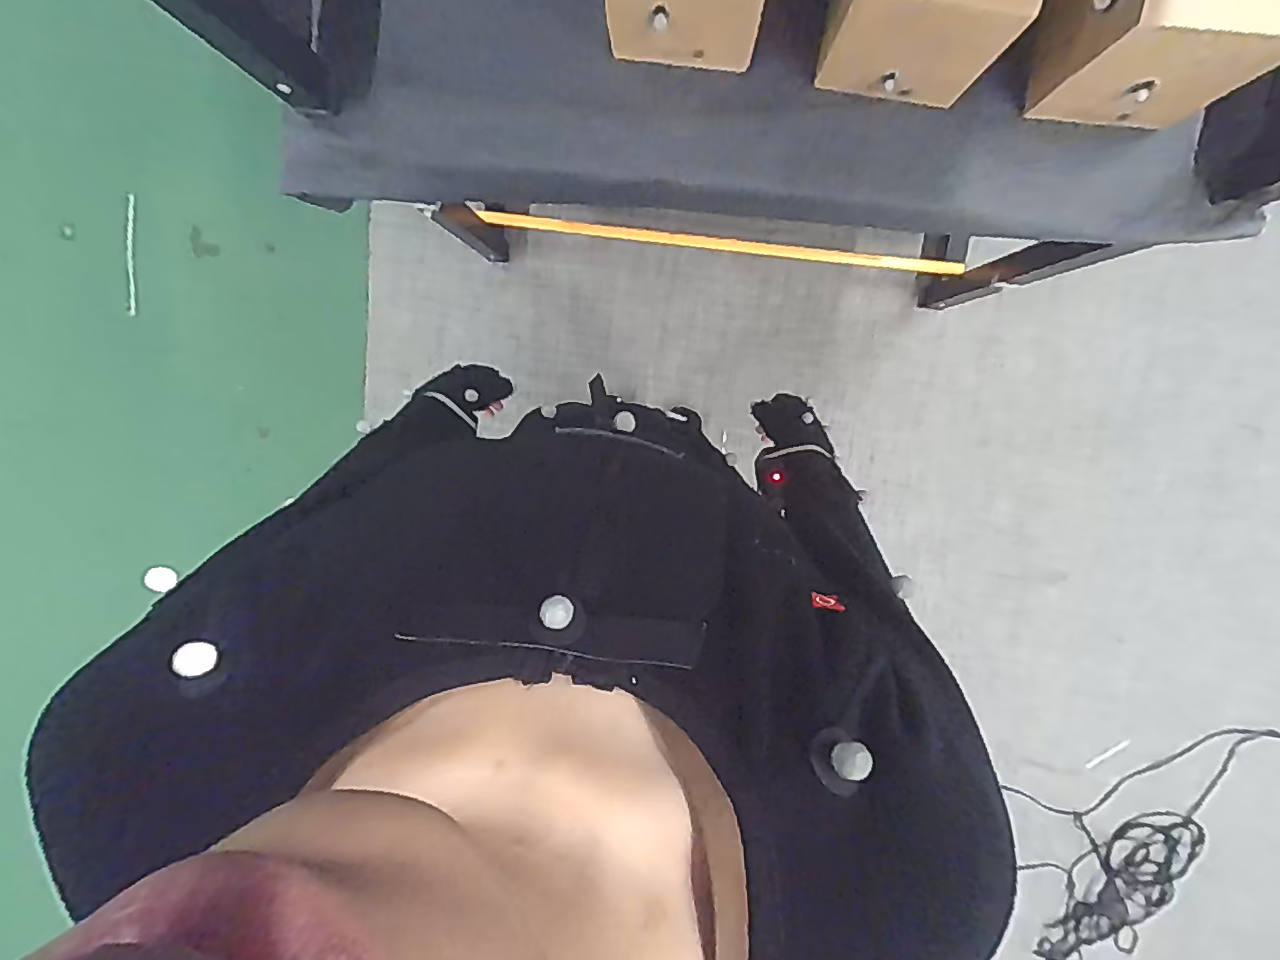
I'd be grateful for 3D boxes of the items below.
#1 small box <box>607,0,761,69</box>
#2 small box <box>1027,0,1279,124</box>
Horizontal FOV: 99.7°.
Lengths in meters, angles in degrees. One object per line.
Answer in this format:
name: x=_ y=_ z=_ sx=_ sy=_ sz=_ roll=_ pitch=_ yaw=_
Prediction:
small box: x=0.056 y=-0.579 z=0.571 sx=0.168 sy=0.176 sz=0.179 roll=8 pitch=99 yaw=2
small box: x=0.543 y=-0.500 z=0.556 sx=0.168 sy=0.176 sz=0.179 roll=6 pitch=99 yaw=2
